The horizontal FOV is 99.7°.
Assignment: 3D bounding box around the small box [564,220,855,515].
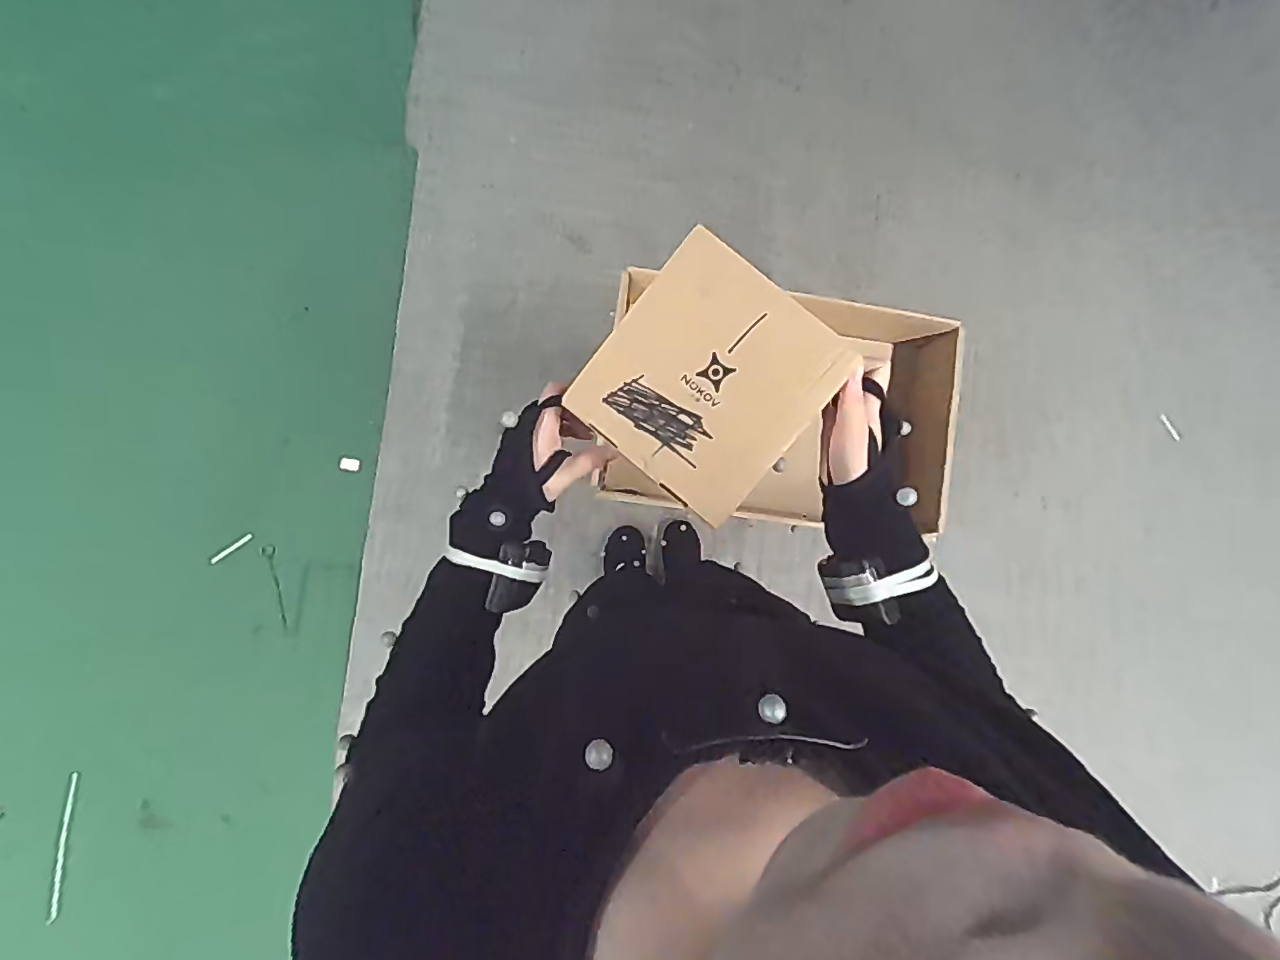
[{"bbox_3d":[0.062,-0.090,0.506,0.168,0.176,0.179,41,96,3],"label":"small box"}]
